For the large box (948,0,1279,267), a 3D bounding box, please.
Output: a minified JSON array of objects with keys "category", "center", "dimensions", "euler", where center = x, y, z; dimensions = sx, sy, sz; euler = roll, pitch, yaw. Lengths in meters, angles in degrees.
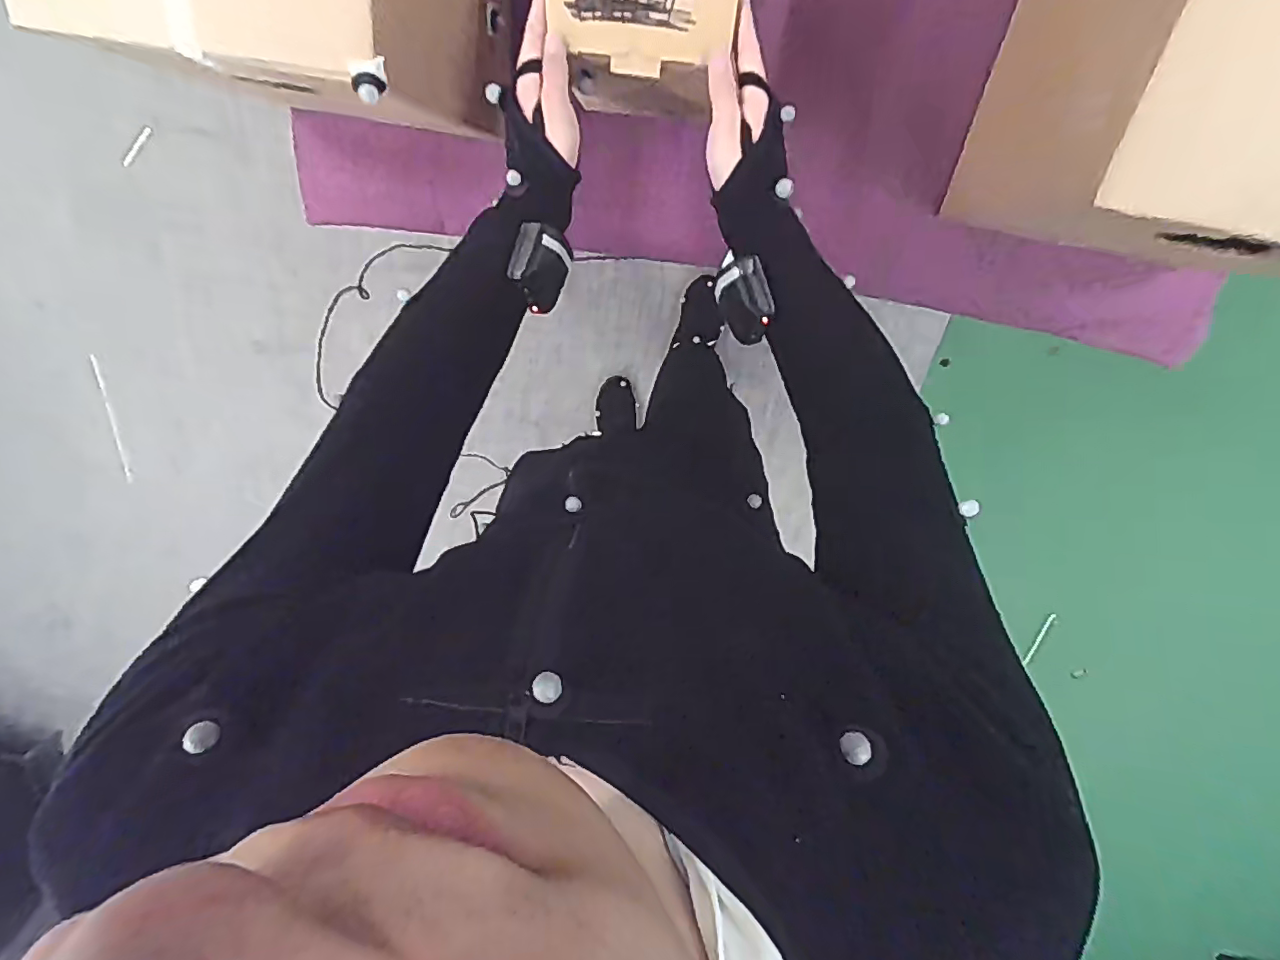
[{"category":"large box","center":[0.541,-0.415,0.453],"dimensions":[0.320,0.320,0.408],"euler":[11,116,3]}]
